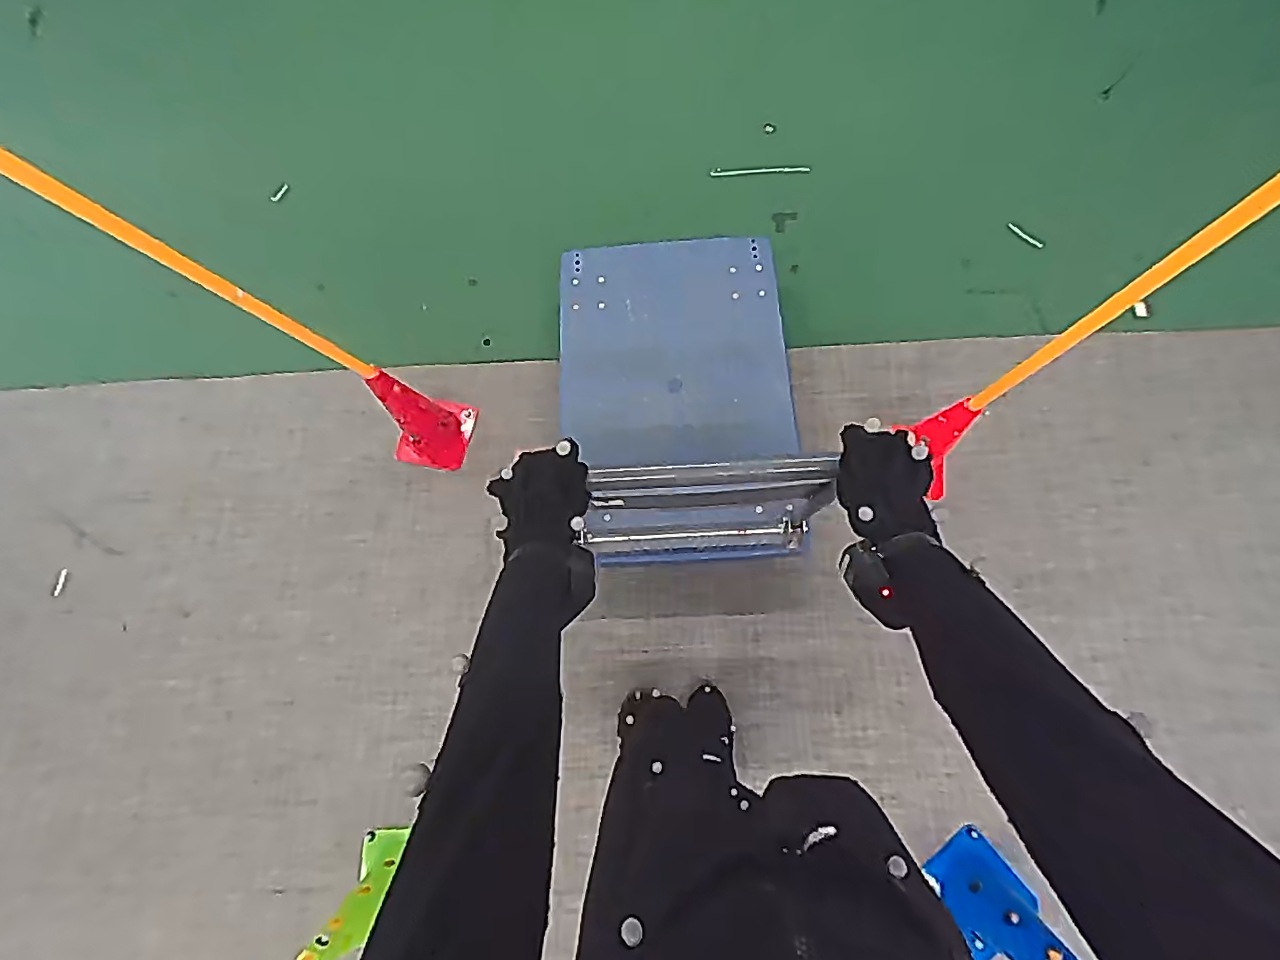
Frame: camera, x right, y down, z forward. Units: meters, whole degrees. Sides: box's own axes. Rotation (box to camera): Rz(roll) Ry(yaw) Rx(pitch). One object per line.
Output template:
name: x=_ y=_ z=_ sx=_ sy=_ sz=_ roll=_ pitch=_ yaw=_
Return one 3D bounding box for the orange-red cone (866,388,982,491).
orange-red cone: x=0.696 y=-0.120 z=1.273 sx=0.198 sy=0.360 sz=0.199 roll=8 pitch=75 yaw=7
